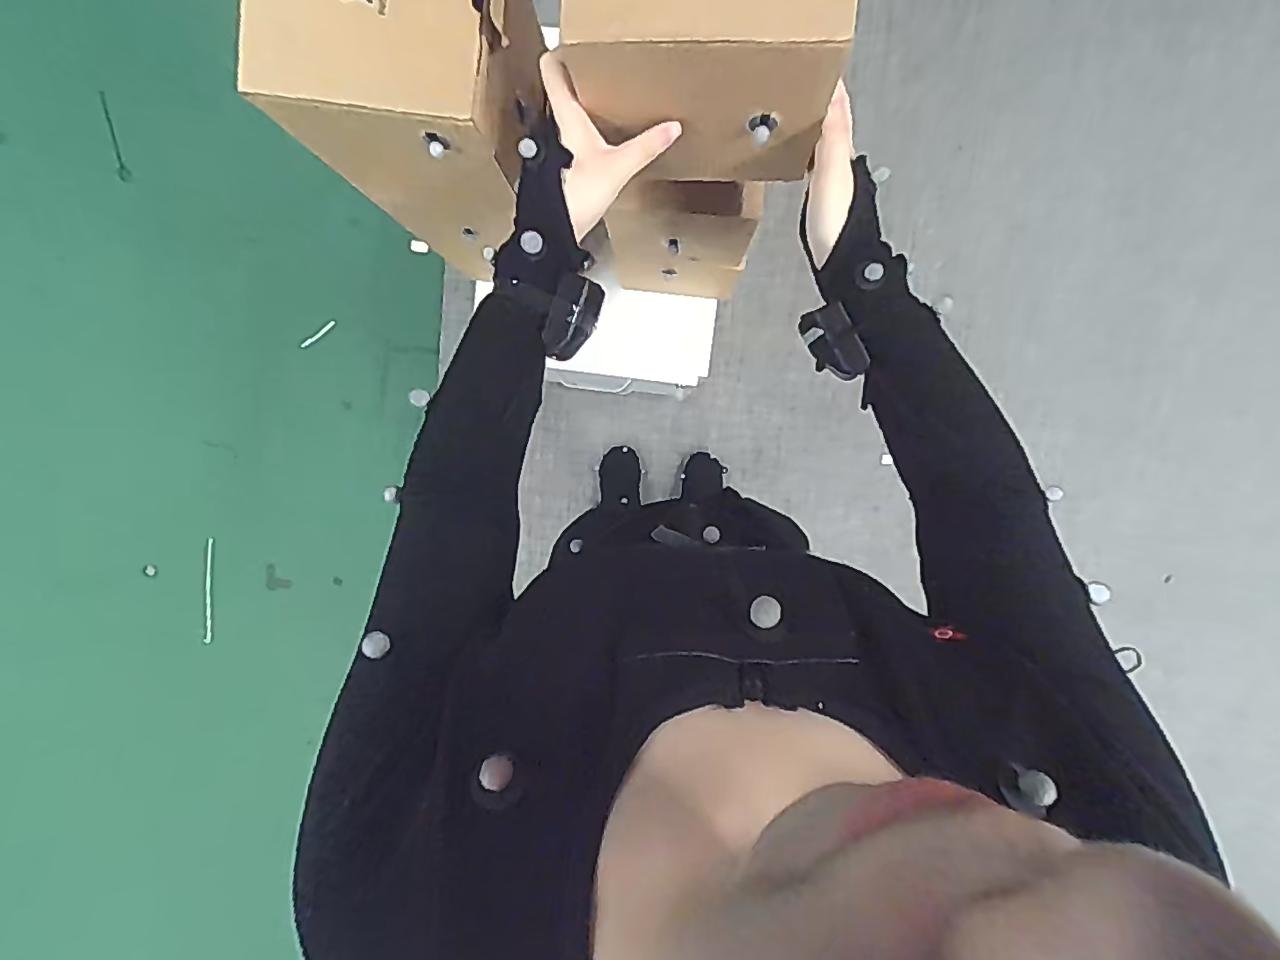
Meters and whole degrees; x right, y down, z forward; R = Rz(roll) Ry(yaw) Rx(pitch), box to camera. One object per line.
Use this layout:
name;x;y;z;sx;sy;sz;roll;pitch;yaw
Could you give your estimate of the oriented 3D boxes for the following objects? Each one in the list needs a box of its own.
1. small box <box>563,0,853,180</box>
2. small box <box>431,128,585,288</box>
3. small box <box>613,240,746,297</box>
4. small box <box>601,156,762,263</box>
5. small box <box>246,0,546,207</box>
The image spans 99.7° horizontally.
small box;0.054;-0.347;0.402;0.179;0.176;0.168;5;94;7
small box;-0.183;-0.392;0.793;0.179;0.176;0.168;7;96;-1
small box;0.063;-0.375;0.787;0.179;0.176;0.168;7;96;1
small box;0.052;-0.364;0.623;0.168;0.176;0.179;5;96;1
small box;-0.190;-0.358;0.467;0.179;0.176;0.168;7;95;0
